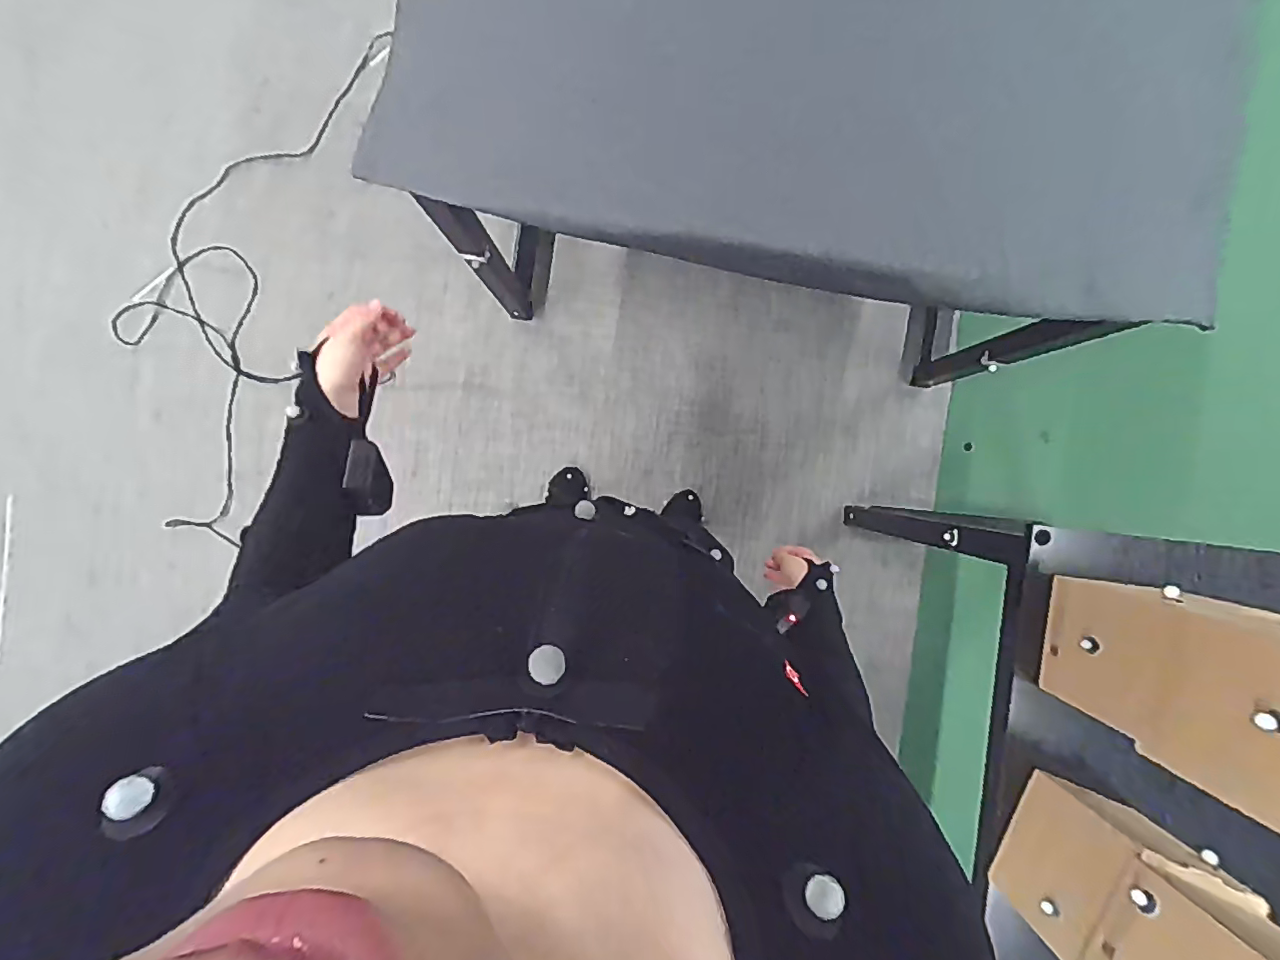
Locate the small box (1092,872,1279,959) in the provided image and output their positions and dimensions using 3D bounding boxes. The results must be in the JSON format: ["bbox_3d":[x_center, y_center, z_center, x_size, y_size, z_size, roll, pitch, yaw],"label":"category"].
[{"bbox_3d":[0.601,0.538,0.530,0.179,0.176,0.168,25,92,-1],"label":"small box"}]

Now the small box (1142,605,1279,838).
[{"bbox_3d":[0.649,0.236,0.526,0.168,0.176,0.179,7,91,0],"label":"small box"}]

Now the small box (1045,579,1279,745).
[{"bbox_3d":[0.666,0.229,0.688,0.179,0.176,0.168,7,92,0],"label":"small box"}]
